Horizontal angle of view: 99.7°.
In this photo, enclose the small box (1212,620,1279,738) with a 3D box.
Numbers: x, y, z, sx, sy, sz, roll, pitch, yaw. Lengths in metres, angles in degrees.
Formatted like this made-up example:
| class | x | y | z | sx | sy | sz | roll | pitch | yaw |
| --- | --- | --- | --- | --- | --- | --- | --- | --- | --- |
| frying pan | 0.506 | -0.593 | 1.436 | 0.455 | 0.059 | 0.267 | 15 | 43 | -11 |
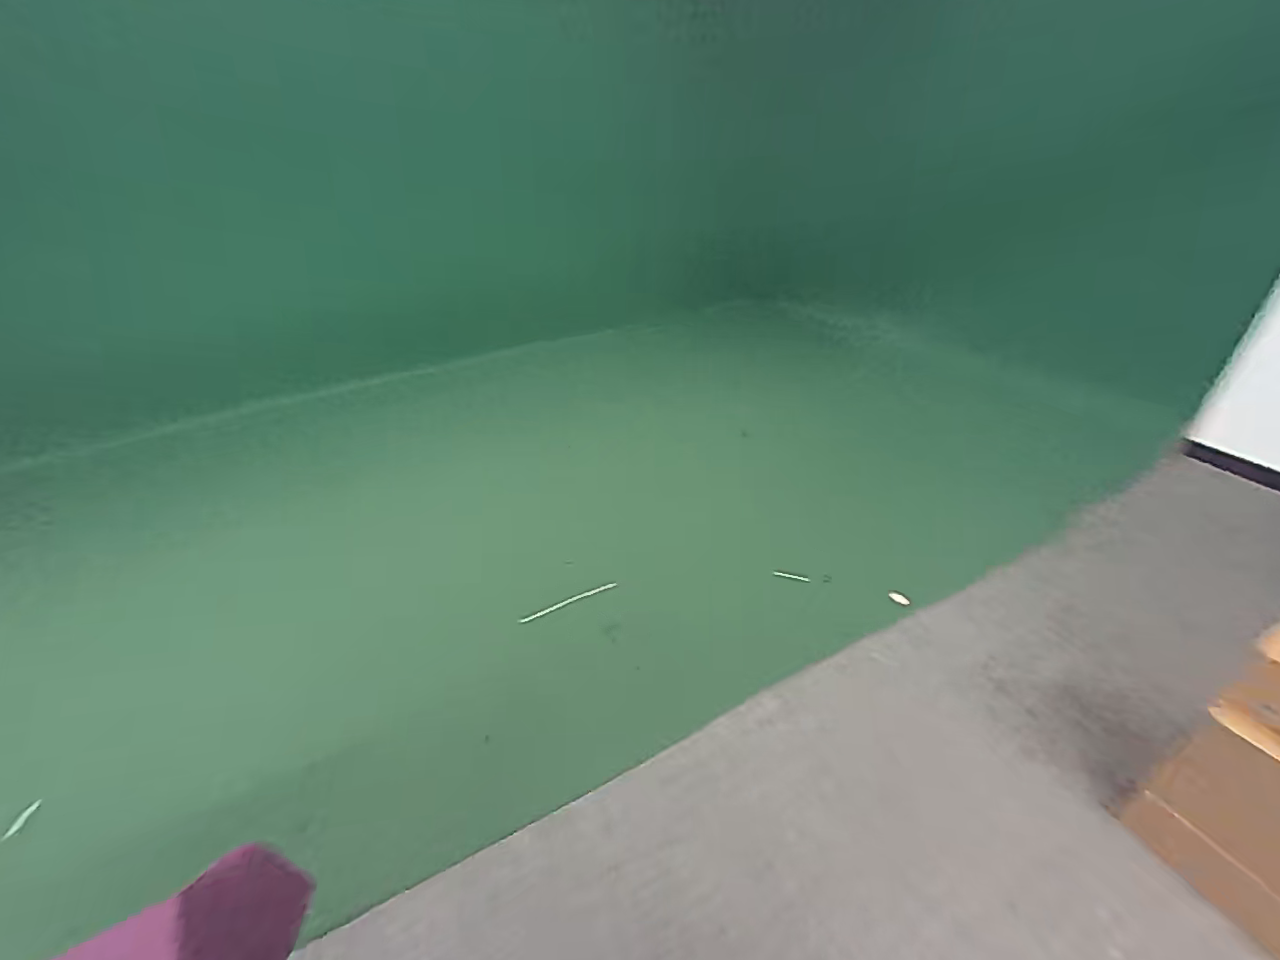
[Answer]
| class | x | y | z | sx | sy | sz | roll | pitch | yaw |
| --- | --- | --- | --- | --- | --- | --- | --- | --- | --- |
| small box | 1.271 | 0.379 | 1.034 | 0.179 | 0.176 | 0.168 | -22 | 41 | -20 |
